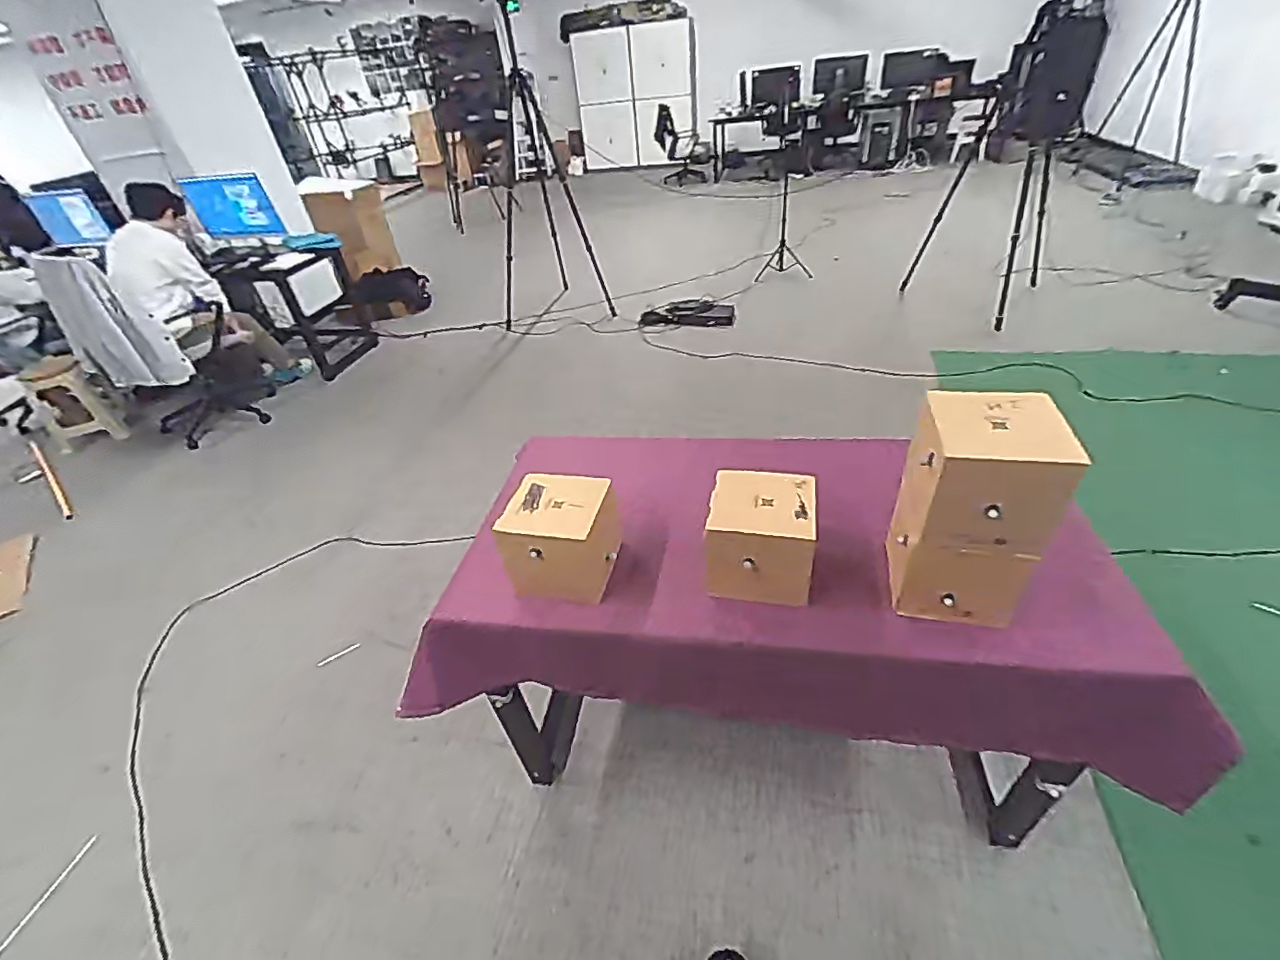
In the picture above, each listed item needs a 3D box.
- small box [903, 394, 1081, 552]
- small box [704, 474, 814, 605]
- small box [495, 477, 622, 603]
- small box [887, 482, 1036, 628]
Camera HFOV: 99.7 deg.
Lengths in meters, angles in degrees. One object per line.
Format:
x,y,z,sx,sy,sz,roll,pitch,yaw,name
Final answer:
0.504,-0.012,0.806,0.168,0.176,0.179,4,39,14,small box
0.217,0.106,0.973,0.179,0.176,0.168,3,39,15,small box
-0.145,0.114,1.027,0.179,0.176,0.168,4,39,14,small box
0.521,0.117,0.907,0.168,0.176,0.179,4,40,16,small box
